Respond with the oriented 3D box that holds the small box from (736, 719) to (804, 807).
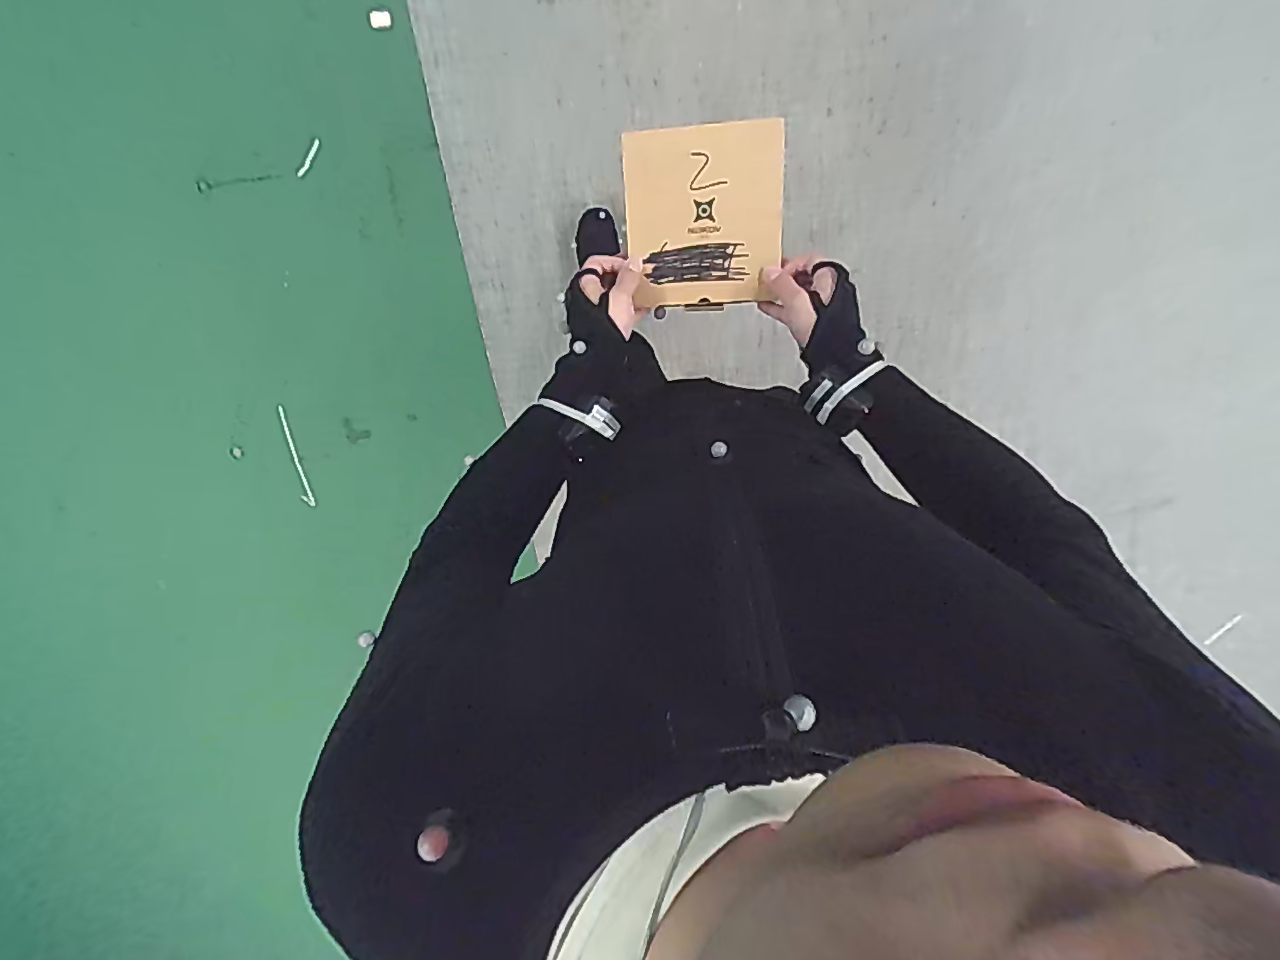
[{"bbox_3d":[0.388,0.843,1.631,0.168,0.176,0.179,-6,107,2],"label":"small box"}]
